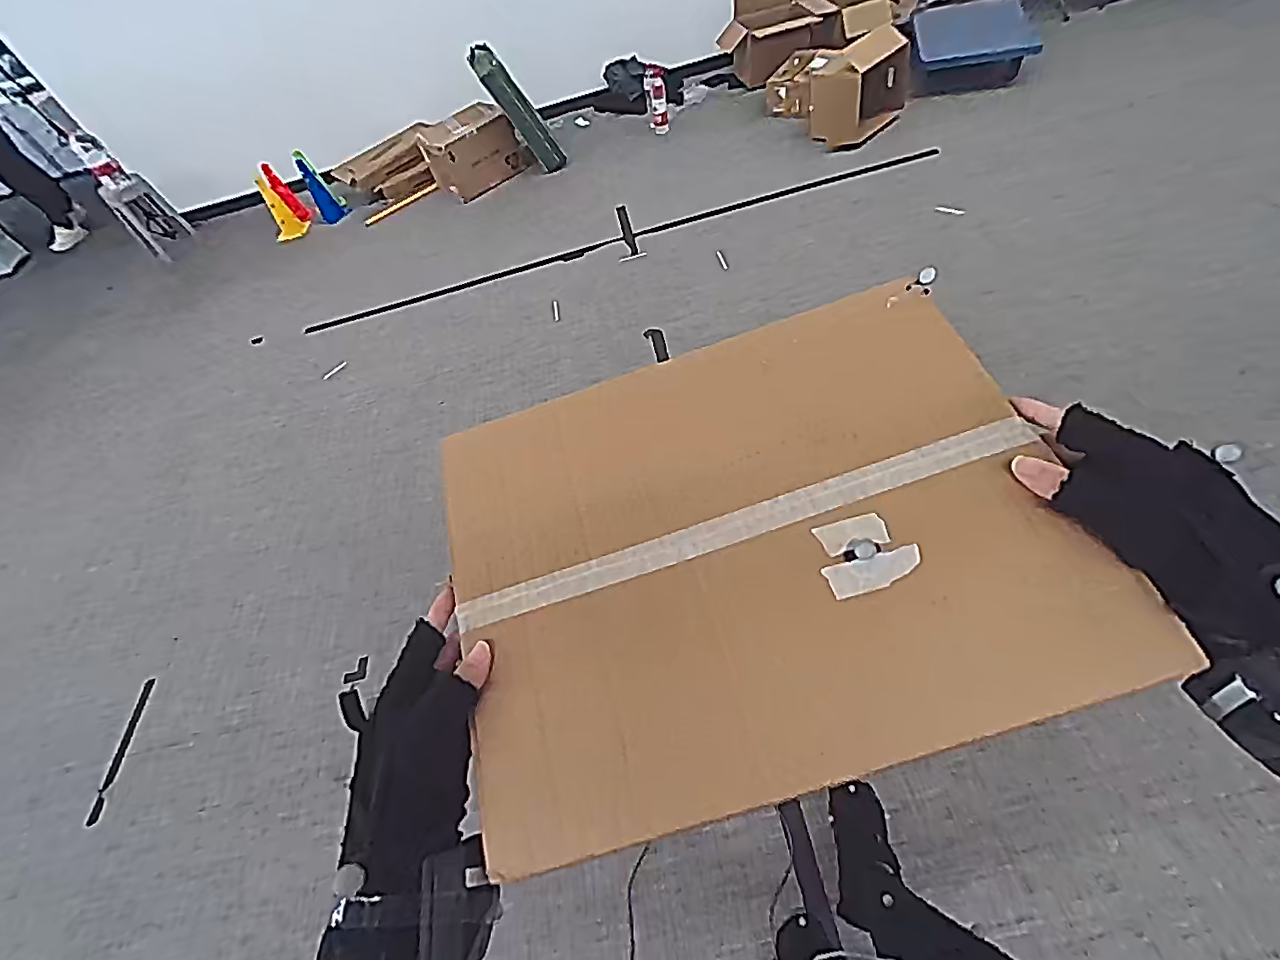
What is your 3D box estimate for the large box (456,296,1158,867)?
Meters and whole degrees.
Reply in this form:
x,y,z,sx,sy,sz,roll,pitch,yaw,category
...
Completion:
x,y,z,sx,sy,sz,roll,pitch,yaw,category
0.095,0.104,0.512,0.408,0.320,0.320,-19,62,2,large box
